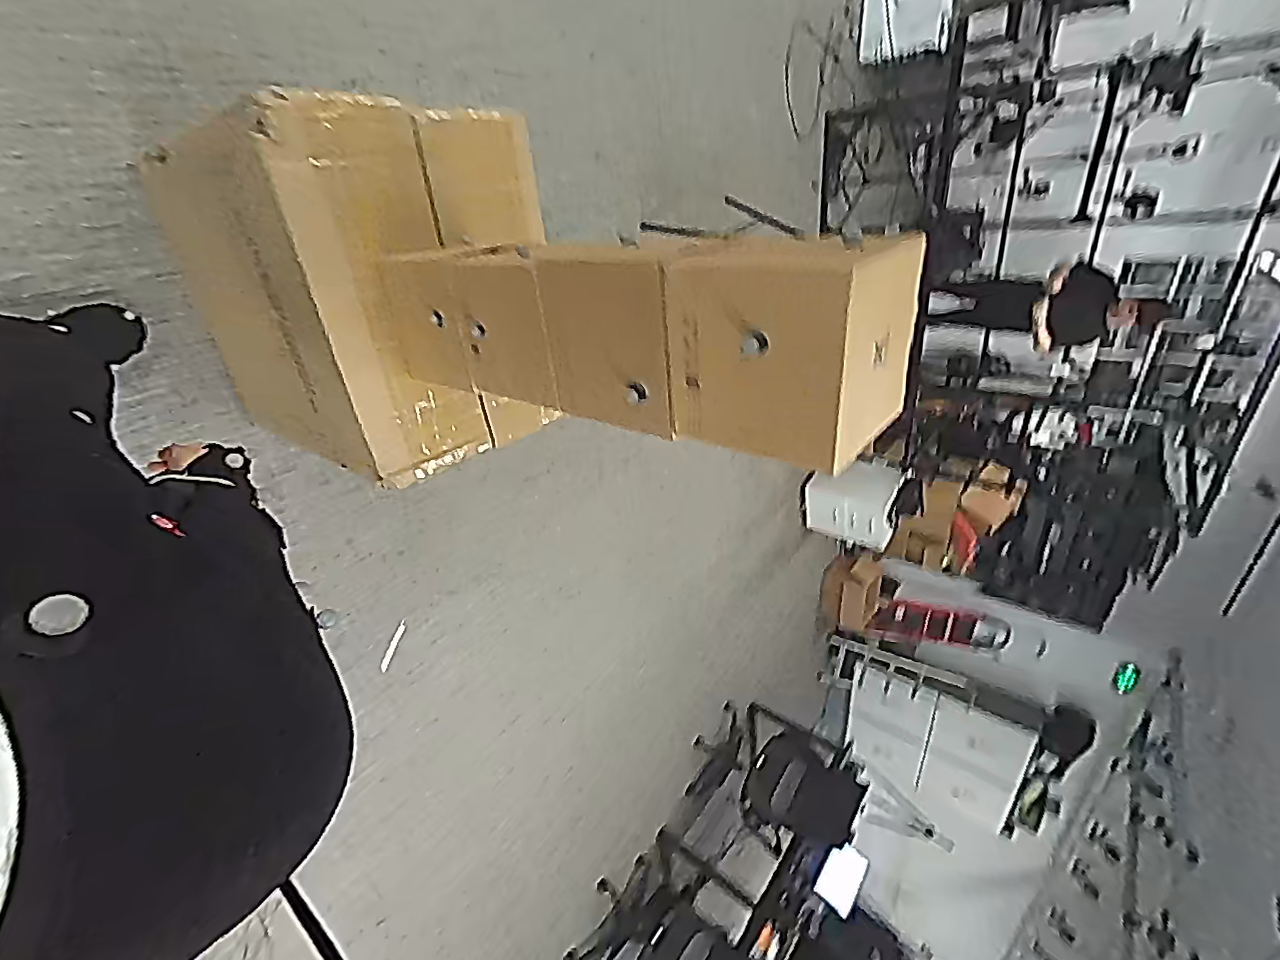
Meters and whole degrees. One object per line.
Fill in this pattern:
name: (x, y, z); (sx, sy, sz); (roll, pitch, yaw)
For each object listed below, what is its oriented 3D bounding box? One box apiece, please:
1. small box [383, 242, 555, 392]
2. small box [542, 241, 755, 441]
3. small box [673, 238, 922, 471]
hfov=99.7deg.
small box: (-0.244, -0.245, 0.793); (0.168, 0.176, 0.179); (-32, 129, -41)
small box: (0.014, -0.166, 0.604); (0.168, 0.176, 0.179); (-33, 128, -41)
small box: (0.142, -0.129, 0.511); (0.179, 0.176, 0.168); (-33, 129, -41)
